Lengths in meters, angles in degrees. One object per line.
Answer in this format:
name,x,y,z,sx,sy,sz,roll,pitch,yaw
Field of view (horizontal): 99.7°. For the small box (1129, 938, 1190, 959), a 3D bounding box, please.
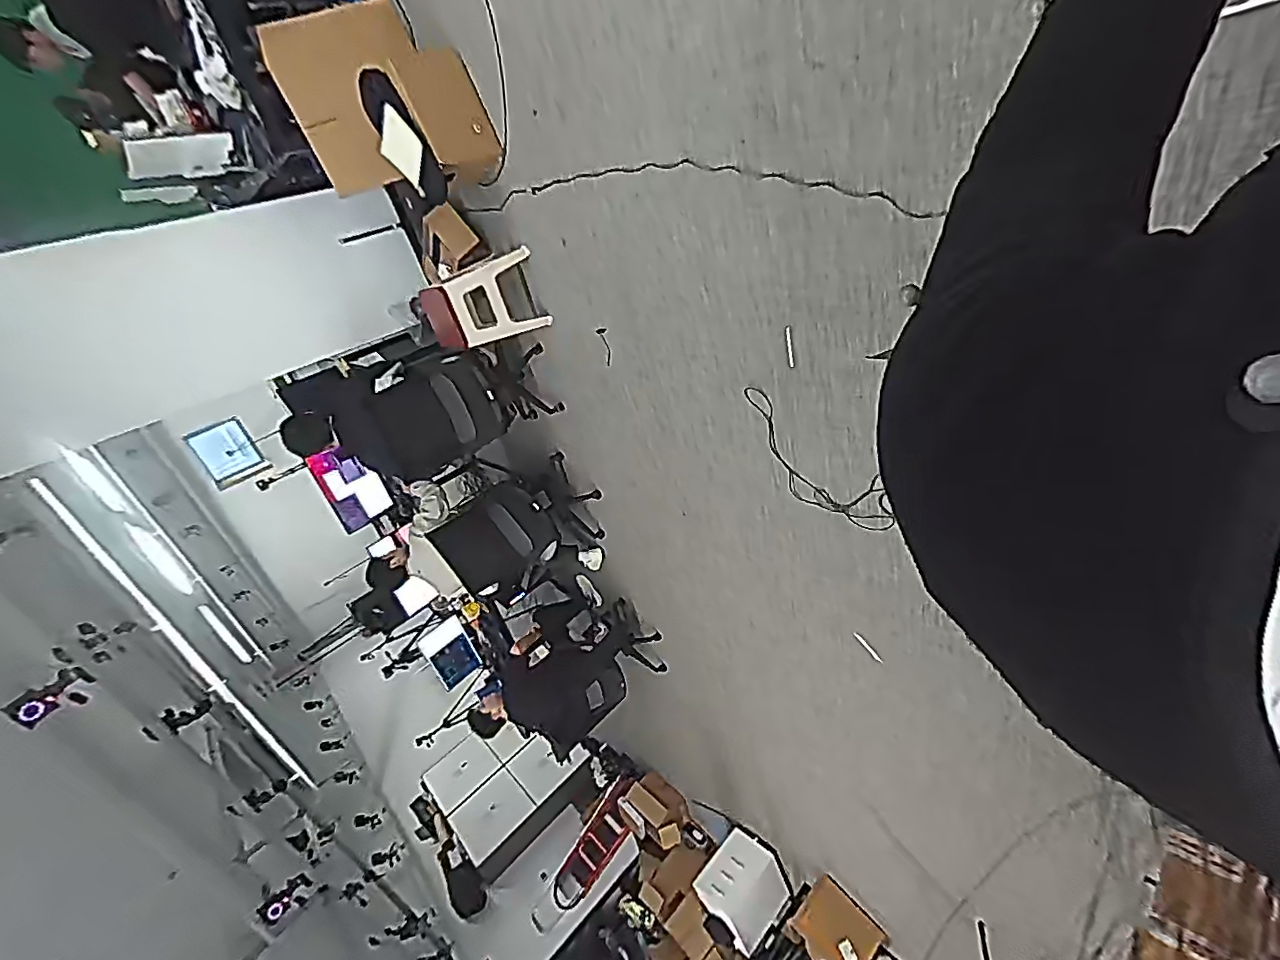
small box,1.249,1.227,1.258,0.179,0.176,0.168,10,125,51
